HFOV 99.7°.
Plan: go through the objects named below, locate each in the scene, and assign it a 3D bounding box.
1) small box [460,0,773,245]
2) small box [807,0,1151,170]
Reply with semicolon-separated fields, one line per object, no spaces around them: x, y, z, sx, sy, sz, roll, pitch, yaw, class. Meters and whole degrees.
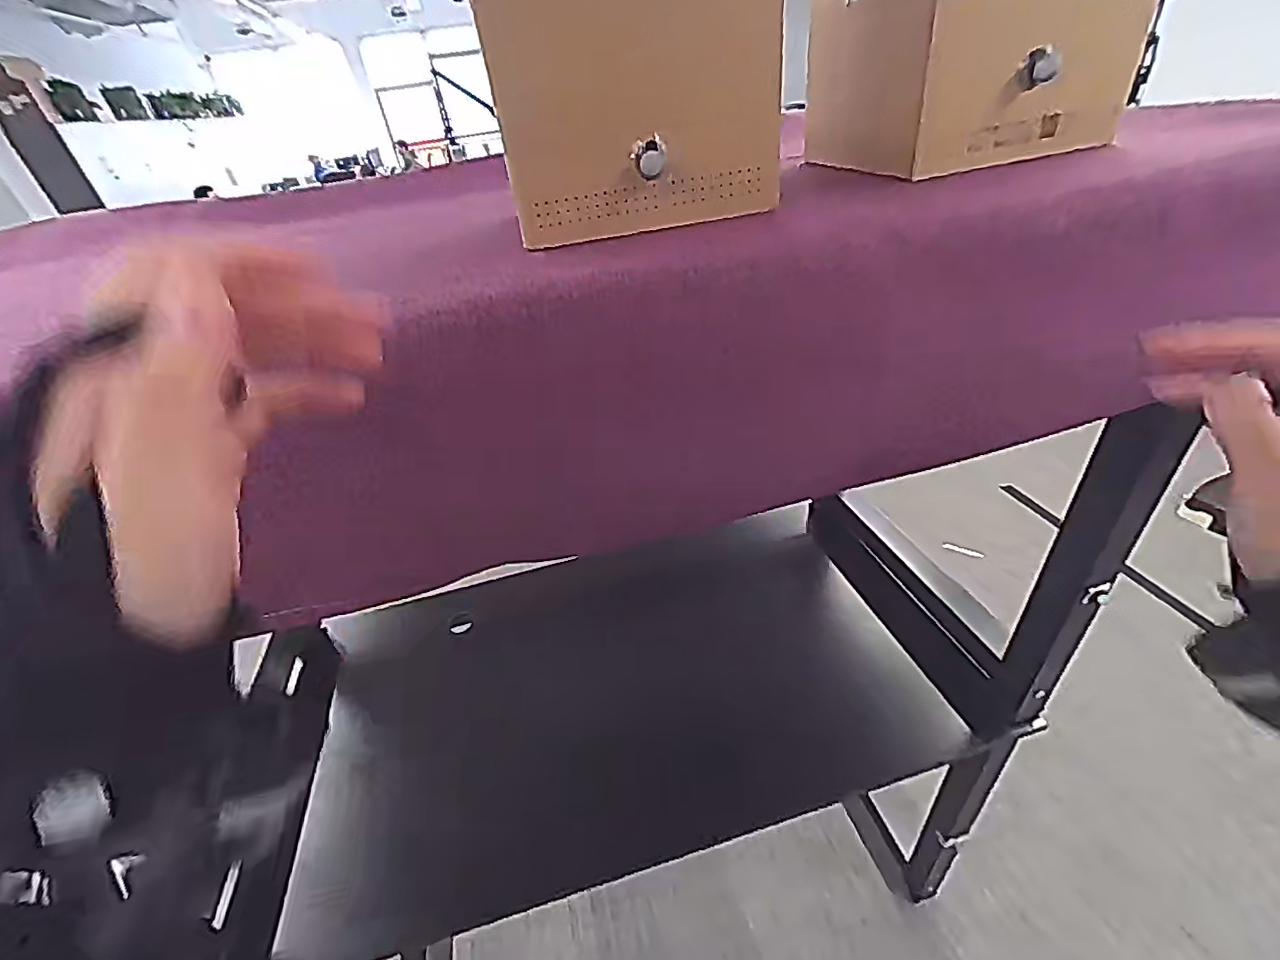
-0.018;-0.276;0.372;0.179;0.176;0.168;-12;35;-6;small box
0.239;-0.345;0.411;0.168;0.176;0.179;-13;35;-5;small box
